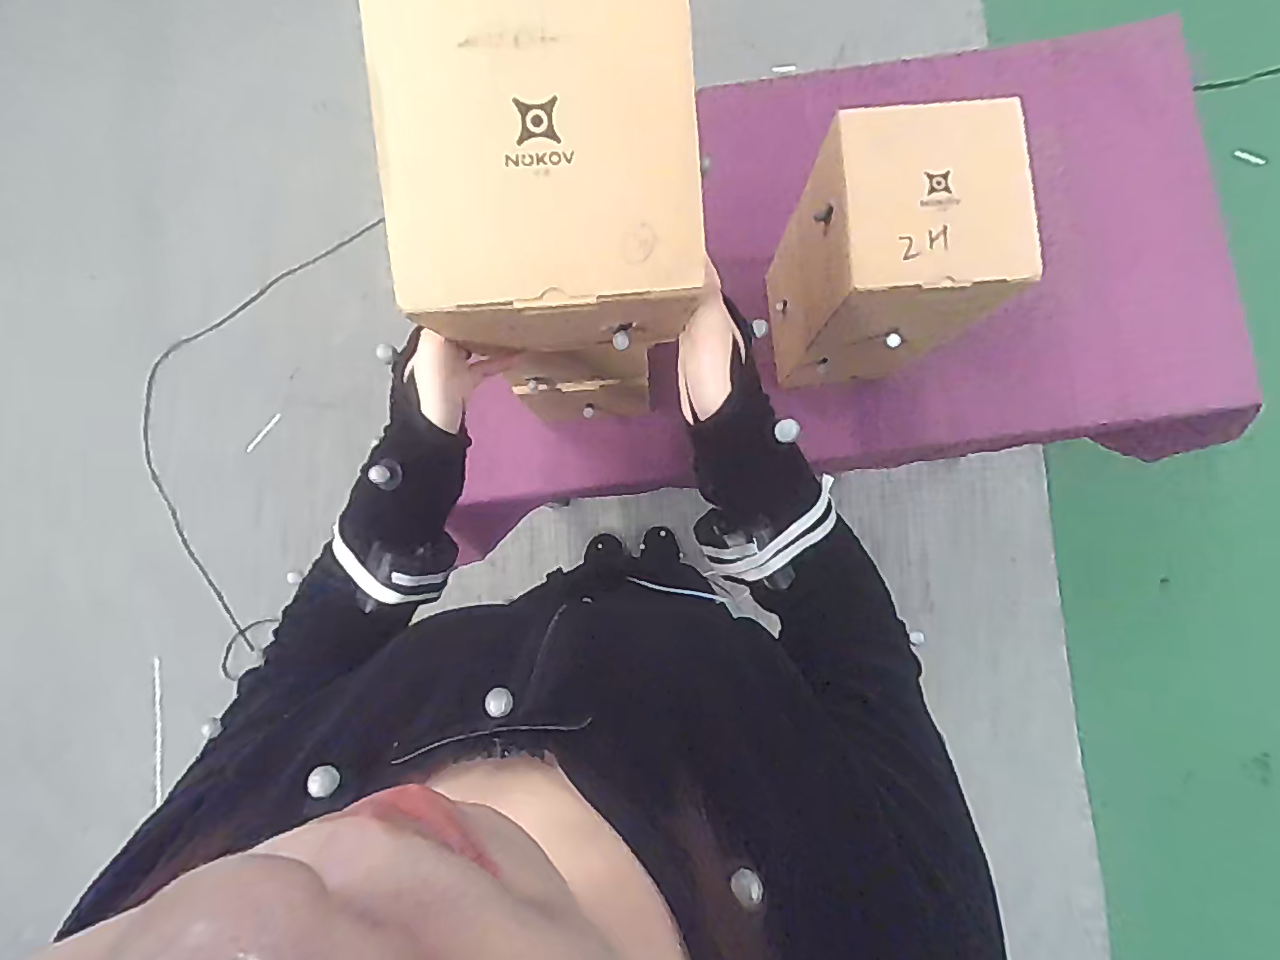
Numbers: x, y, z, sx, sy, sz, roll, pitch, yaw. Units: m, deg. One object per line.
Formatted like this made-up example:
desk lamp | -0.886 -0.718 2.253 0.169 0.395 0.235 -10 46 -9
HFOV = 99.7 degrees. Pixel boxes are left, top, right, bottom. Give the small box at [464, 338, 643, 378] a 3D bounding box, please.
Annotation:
small box | -0.082 -0.212 0.574 0.168 0.176 0.179 -3 85 1

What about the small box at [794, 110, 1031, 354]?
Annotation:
small box | 0.266 -0.245 0.570 0.168 0.176 0.179 -2 85 1

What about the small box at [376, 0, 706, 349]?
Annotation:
small box | -0.051 -0.183 0.358 0.168 0.176 0.179 -3 97 -3

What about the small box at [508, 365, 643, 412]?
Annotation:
small box | -0.082 -0.191 0.738 0.168 0.176 0.179 -4 86 0
